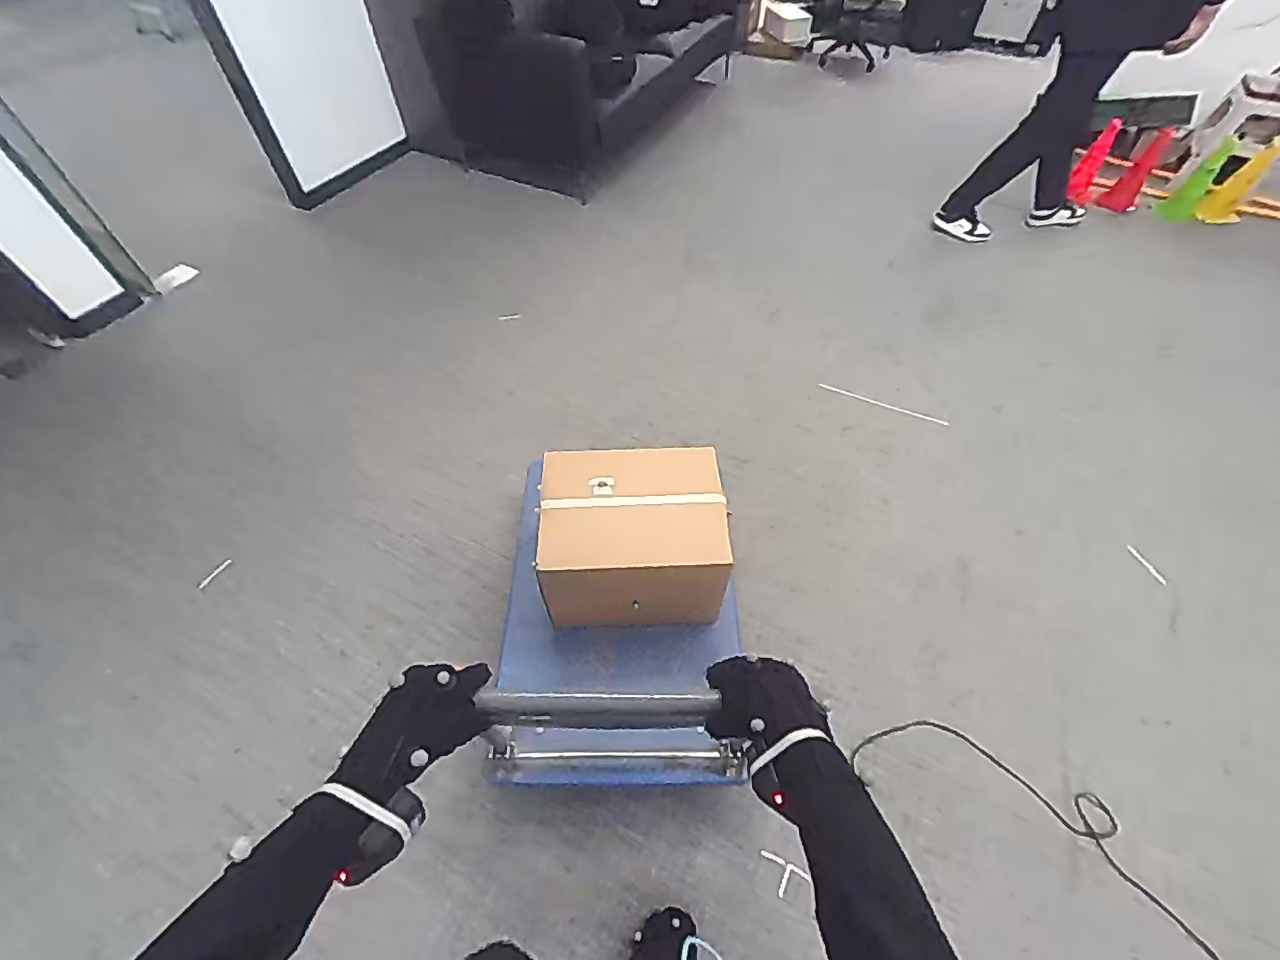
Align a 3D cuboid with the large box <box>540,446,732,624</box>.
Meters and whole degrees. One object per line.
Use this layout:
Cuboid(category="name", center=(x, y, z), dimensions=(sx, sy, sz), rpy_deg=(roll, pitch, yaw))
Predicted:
Cuboid(category="large box", center=(-0.014, 0.141, 1.317), dimensions=(0.408, 0.320, 0.320), rpy_deg=(-3, 53, -2))
